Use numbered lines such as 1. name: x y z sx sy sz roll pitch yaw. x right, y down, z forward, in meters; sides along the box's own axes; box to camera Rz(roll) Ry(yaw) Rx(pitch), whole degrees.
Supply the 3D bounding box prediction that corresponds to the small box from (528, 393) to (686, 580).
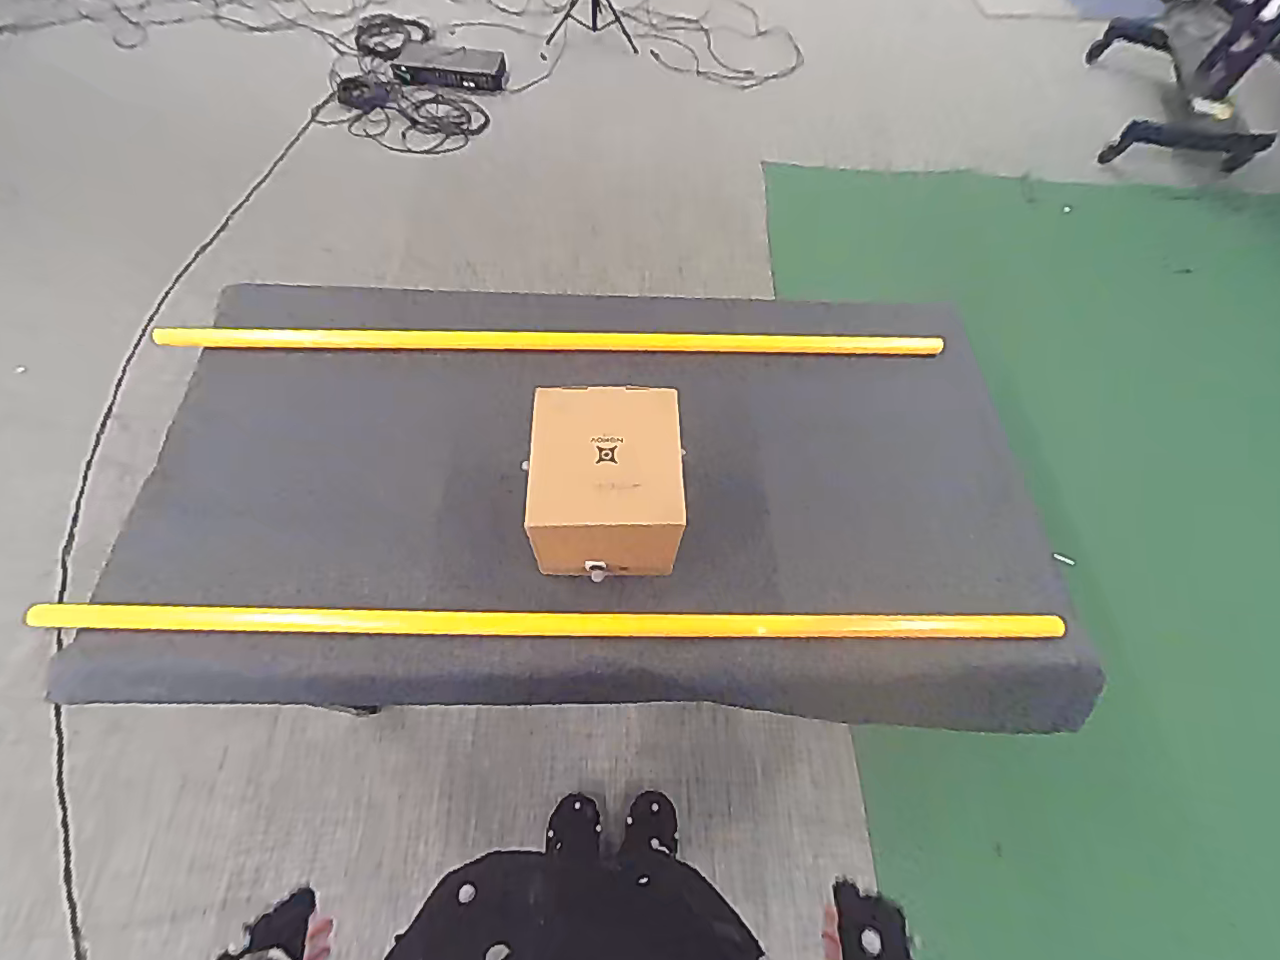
1. small box: -0.039 0.013 0.663 0.168 0.176 0.179 -1 62 -3
